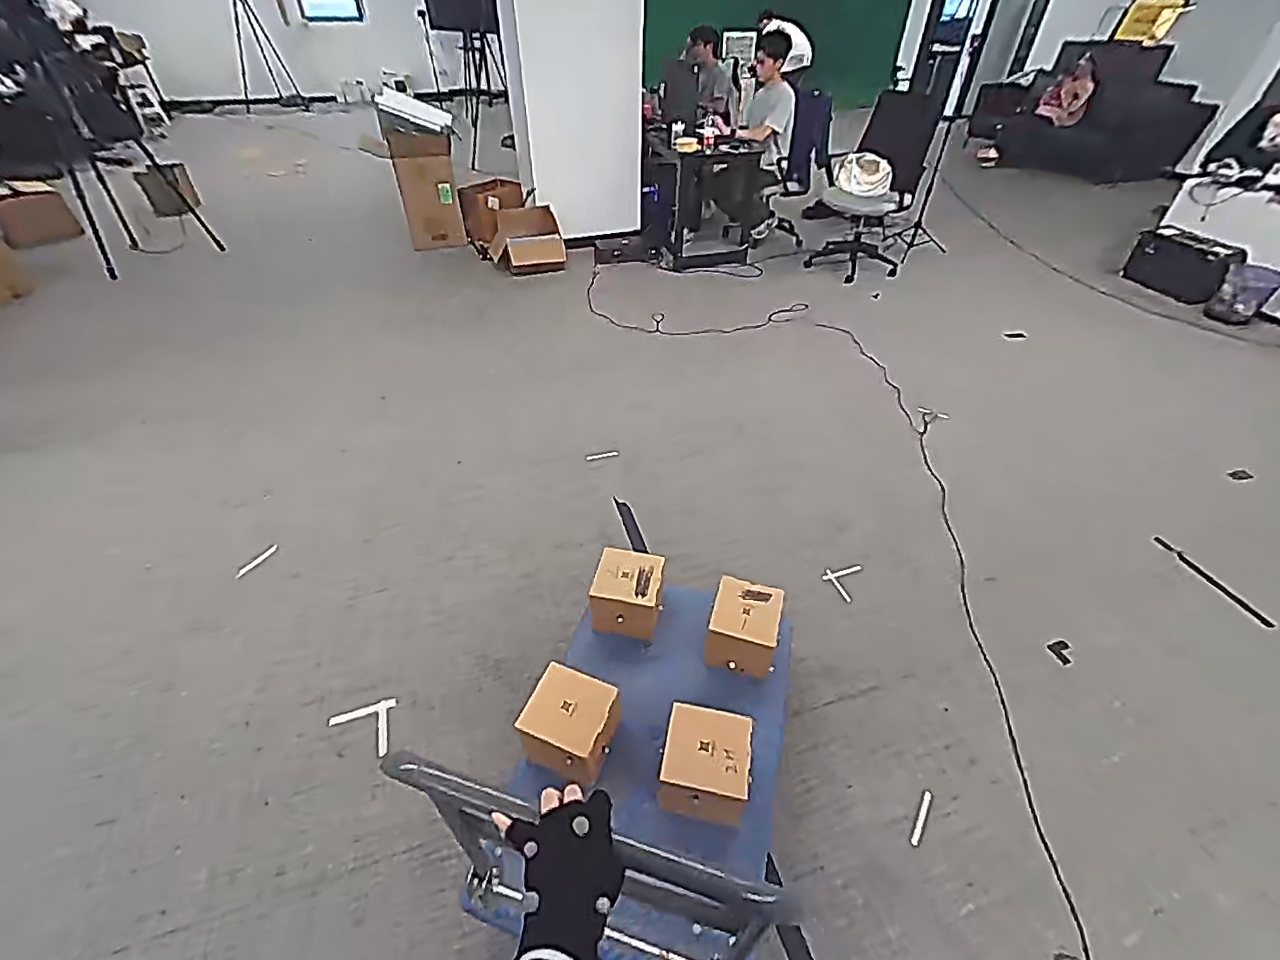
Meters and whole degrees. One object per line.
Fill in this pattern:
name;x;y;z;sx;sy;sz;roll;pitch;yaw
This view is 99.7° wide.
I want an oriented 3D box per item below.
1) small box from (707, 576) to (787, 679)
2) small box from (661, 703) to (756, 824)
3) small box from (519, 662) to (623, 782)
small box;0.277;0.386;1.414;0.168;0.176;0.179;13;45;14
small box;0.145;0.611;1.163;0.179;0.176;0.168;9;43;10
small box;-0.150;0.554;1.230;0.179;0.176;0.168;16;44;15
